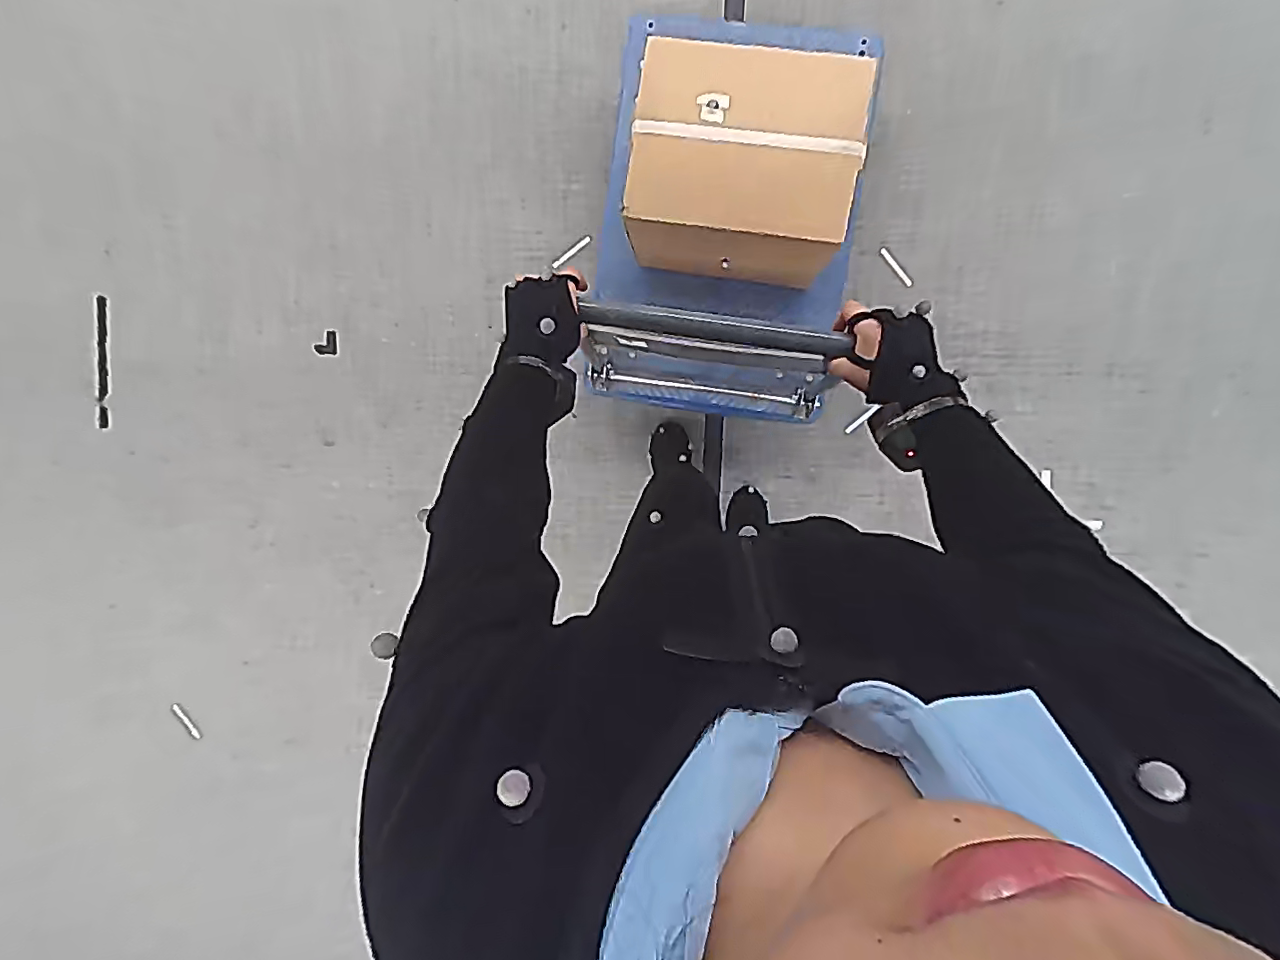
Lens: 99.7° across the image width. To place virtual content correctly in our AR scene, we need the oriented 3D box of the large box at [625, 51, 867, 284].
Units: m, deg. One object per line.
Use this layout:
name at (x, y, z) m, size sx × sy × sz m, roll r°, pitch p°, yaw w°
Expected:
large box at (0.205, -0.620, 1.128) m, size 0.408 × 0.320 × 0.320 m, roll 9°, pitch 95°, yaw 6°
